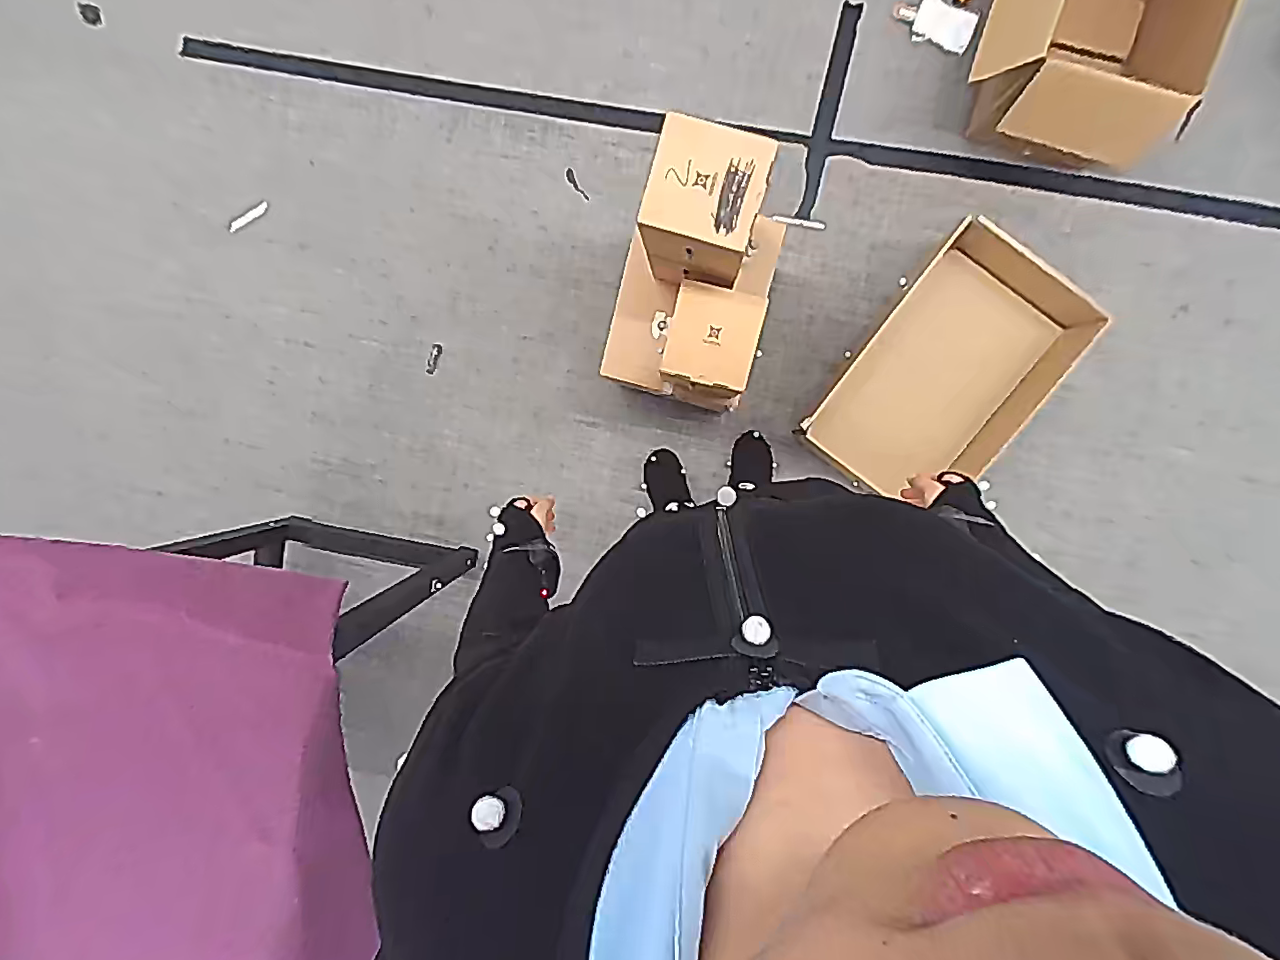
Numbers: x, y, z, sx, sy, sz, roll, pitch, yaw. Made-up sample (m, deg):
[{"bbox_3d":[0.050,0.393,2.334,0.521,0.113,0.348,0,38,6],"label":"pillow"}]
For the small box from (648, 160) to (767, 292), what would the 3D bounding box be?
[{"bbox_3d":[0.127,-0.478,1.044,0.179,0.176,0.168,17,99,3],"label":"small box"}]

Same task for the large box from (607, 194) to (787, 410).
[{"bbox_3d":[0.129,-0.400,1.301,0.320,0.320,0.408,14,98,4],"label":"large box"}]
